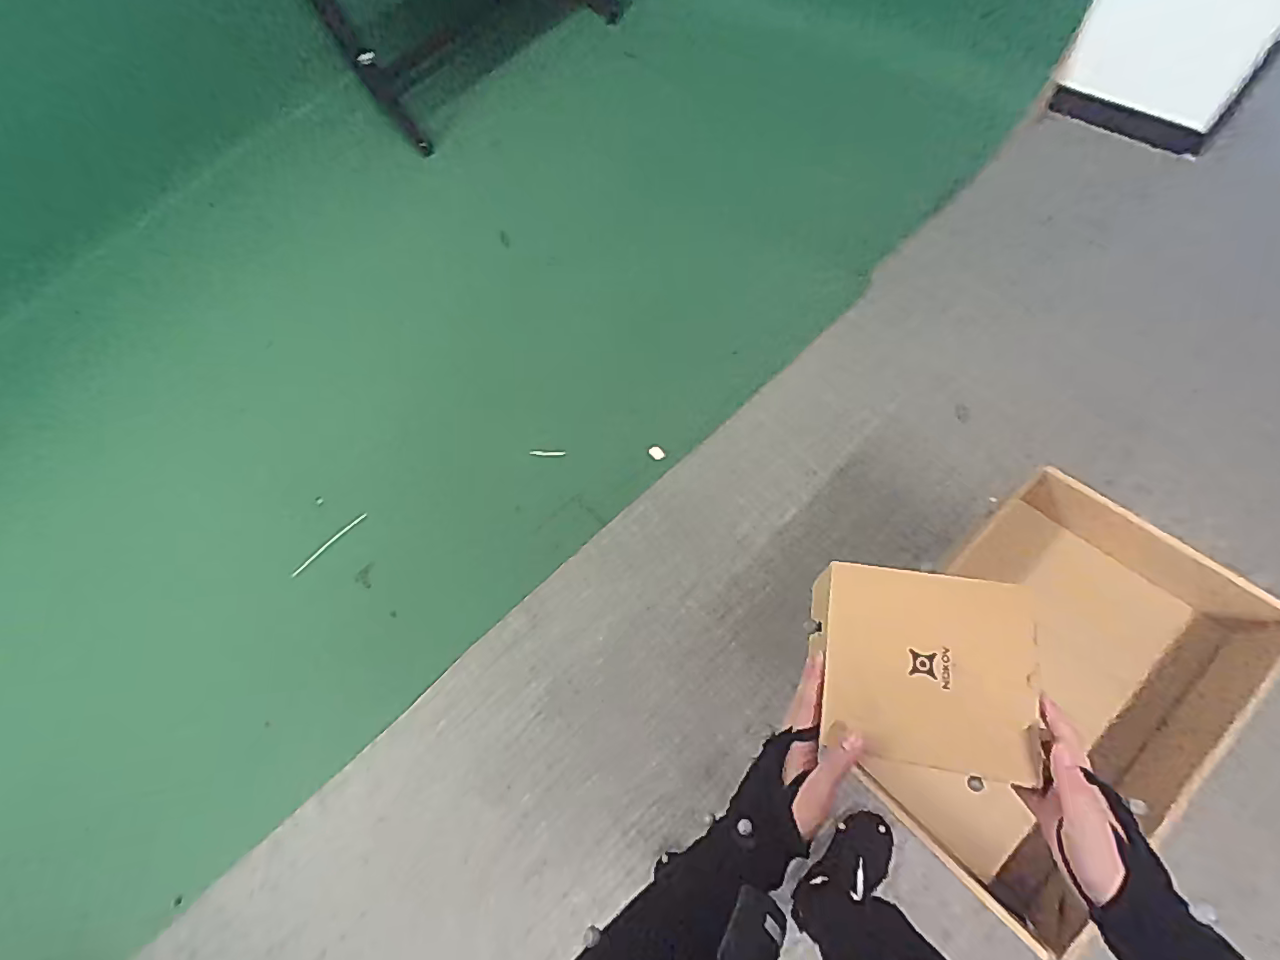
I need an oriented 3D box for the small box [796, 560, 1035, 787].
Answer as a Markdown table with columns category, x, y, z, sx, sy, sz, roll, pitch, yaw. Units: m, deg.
| category | x | y | z | sx | sy | sz | roll | pitch | yaw |
| --- | --- | --- | --- | --- | --- | --- | --- | --- | --- |
| small box | 0.258 | 0.185 | 0.545 | 0.179 | 0.176 | 0.168 | 6 | 73 | 12 |
